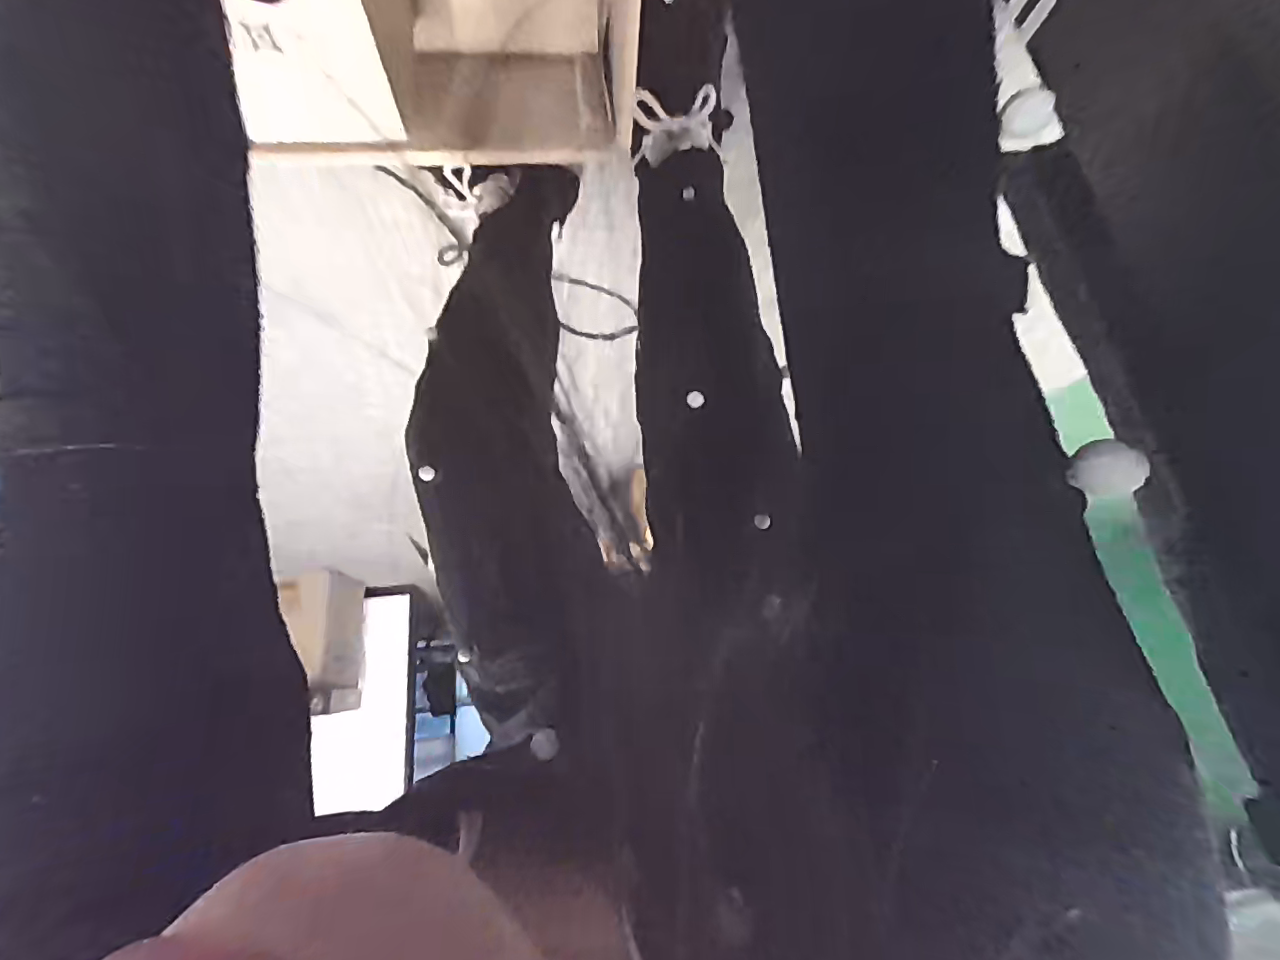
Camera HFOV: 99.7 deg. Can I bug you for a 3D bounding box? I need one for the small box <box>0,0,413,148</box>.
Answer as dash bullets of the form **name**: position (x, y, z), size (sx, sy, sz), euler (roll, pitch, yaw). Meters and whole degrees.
- **small box**: position (-0.192, -0.246, 0.175), size (0.176, 0.179, 0.168), euler (-16, 176, -17)
